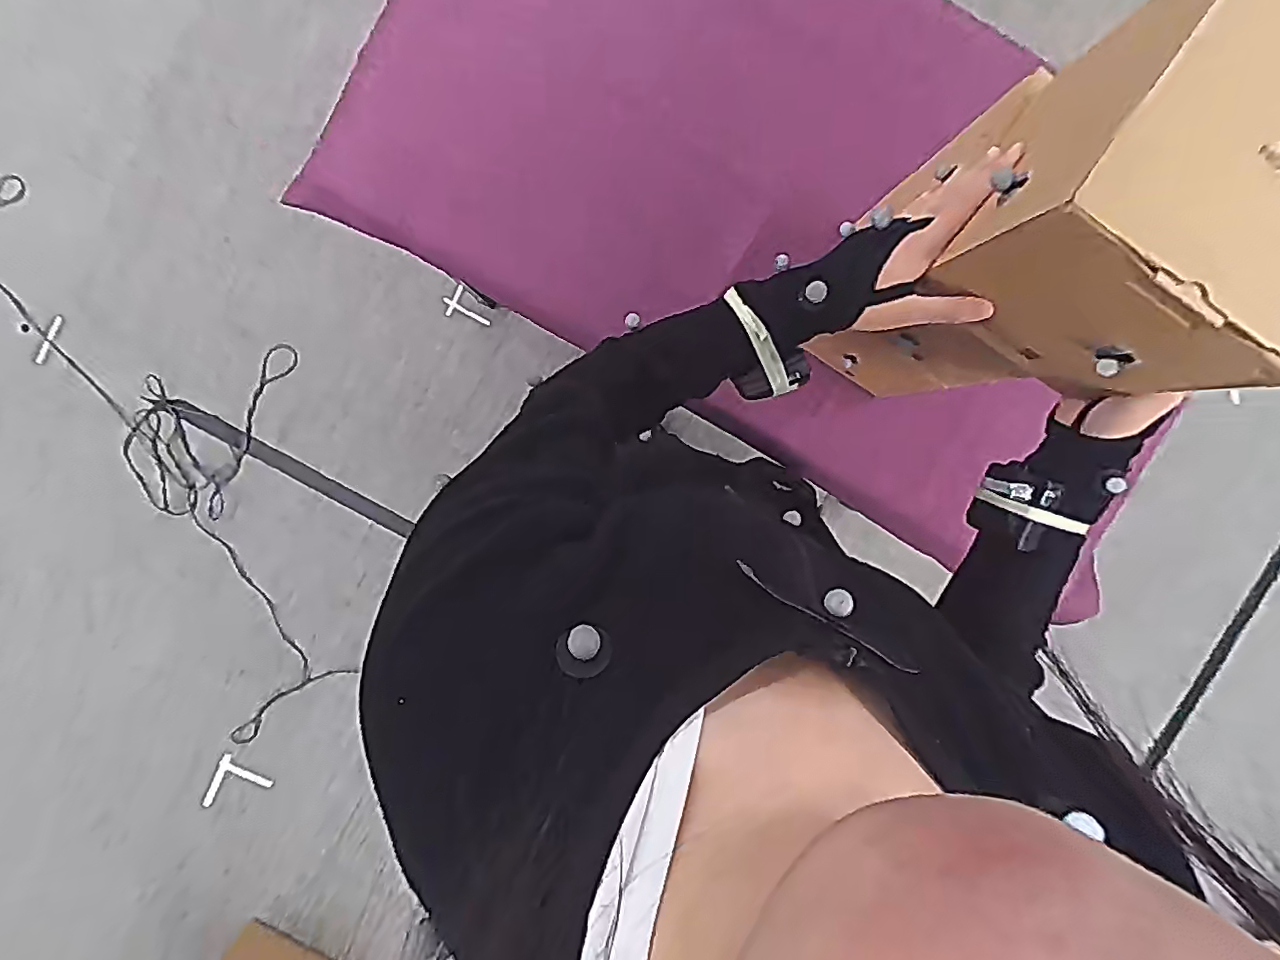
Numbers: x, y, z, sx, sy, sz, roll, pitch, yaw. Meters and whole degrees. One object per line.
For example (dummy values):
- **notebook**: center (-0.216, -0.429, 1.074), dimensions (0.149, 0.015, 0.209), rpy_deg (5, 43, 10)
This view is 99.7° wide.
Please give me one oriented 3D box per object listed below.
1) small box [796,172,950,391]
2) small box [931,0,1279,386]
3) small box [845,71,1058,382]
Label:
- **small box**: center (0.316, -0.225, 0.671), dimensions (0.168, 0.176, 0.179), rpy_deg (32, 93, -5)
- **small box**: center (0.325, -0.174, 0.343), dimensions (0.168, 0.176, 0.179), rpy_deg (33, 95, -5)
- **small box**: center (0.327, -0.211, 0.507), dimensions (0.168, 0.176, 0.179), rpy_deg (32, 94, -5)
